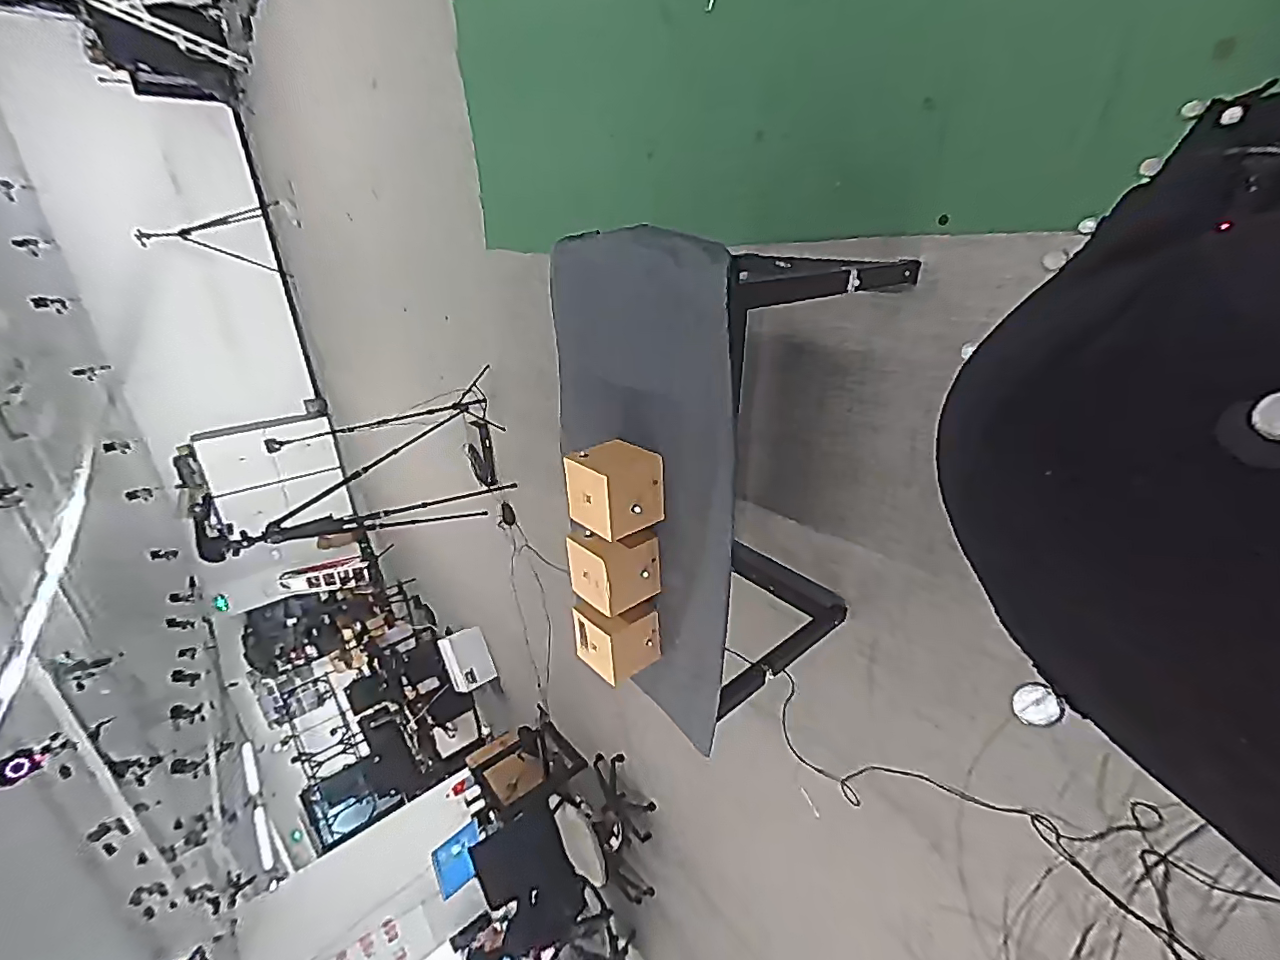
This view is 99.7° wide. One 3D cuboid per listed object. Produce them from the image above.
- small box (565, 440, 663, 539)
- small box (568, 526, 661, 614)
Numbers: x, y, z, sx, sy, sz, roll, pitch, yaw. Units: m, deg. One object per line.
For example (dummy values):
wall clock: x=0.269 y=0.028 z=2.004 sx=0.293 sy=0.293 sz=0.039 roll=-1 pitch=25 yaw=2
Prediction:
small box: x=-0.055 y=0.013 z=1.293 sx=0.179 sy=0.176 sz=0.168 roll=23 pitch=125 yaw=47
small box: x=-0.063 y=0.211 z=1.400 sx=0.179 sy=0.176 sz=0.168 roll=22 pitch=124 yaw=46
